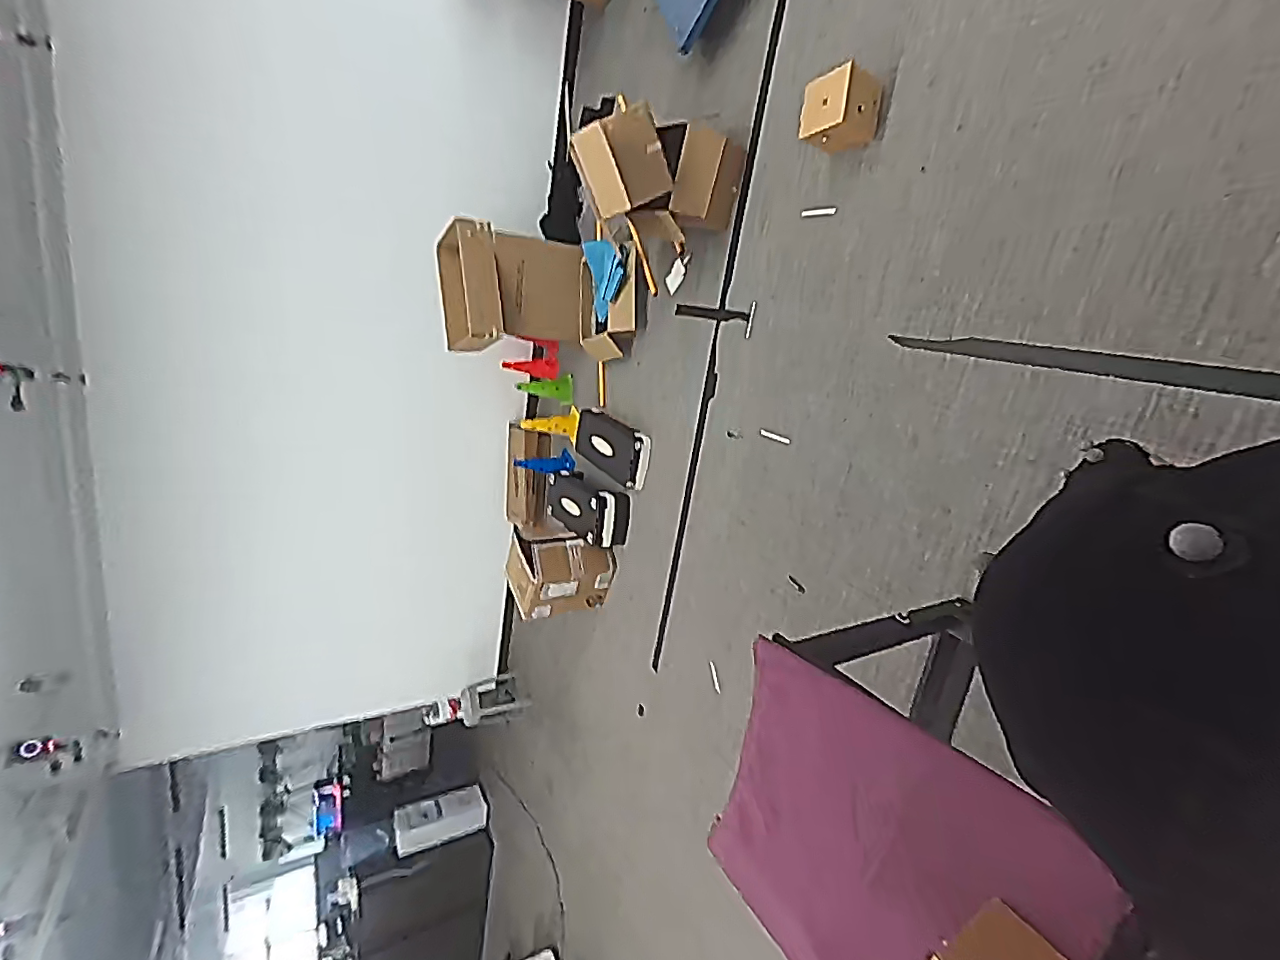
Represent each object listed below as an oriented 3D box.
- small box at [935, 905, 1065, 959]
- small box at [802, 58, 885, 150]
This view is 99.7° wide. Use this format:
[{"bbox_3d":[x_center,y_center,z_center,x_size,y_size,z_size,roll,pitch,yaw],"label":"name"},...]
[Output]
[{"bbox_3d":[0.460,0.683,0.660,0.179,0.176,0.168,35,119,52],"label":"small box"},{"bbox_3d":[0.645,-1.179,1.710,0.179,0.176,0.168,20,107,56],"label":"small box"}]
